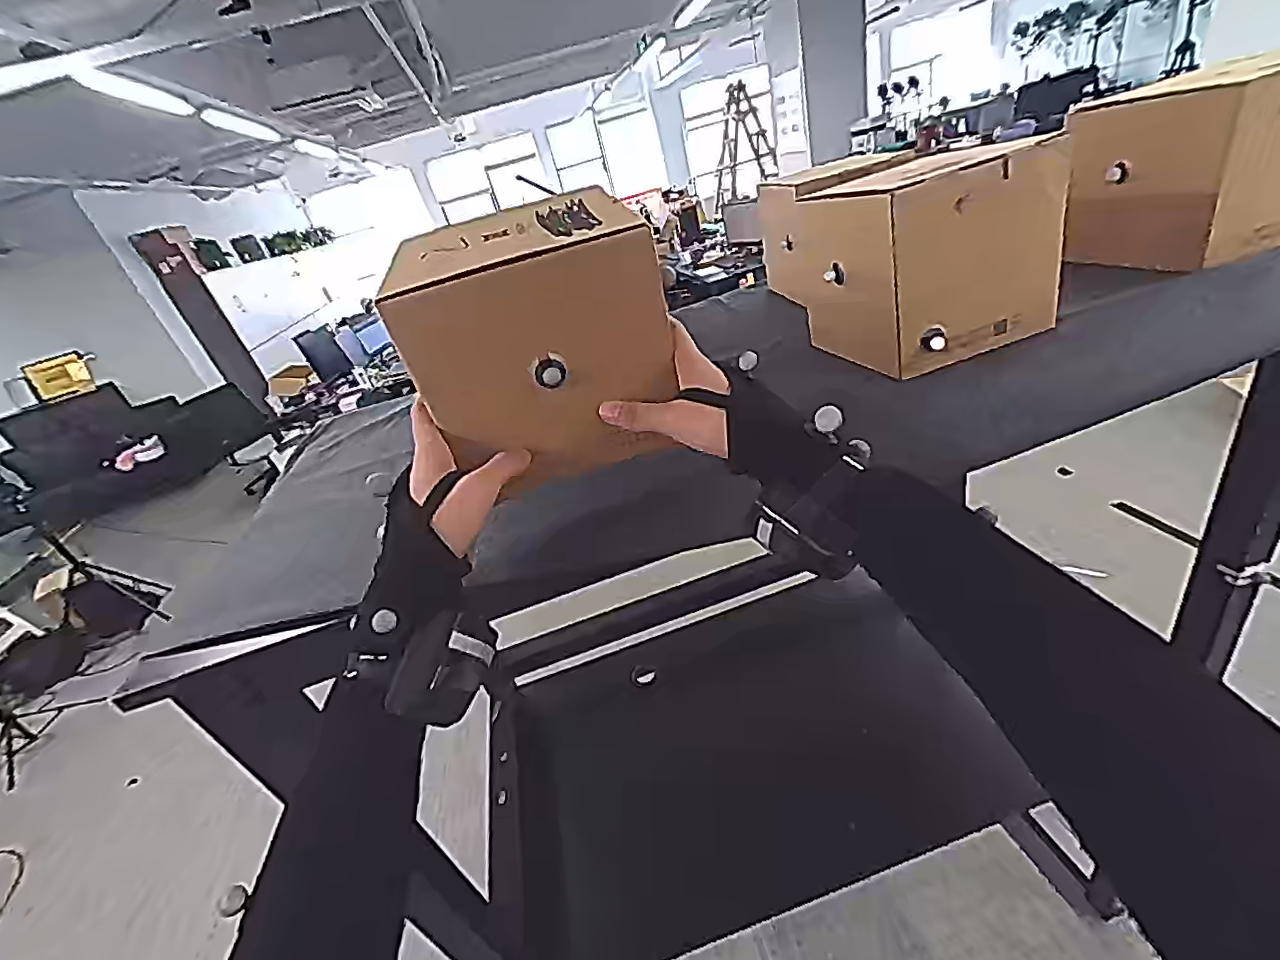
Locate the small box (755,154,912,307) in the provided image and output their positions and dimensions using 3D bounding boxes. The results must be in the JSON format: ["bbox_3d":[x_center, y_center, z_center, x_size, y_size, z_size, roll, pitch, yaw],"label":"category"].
[{"bbox_3d":[0.290,-0.374,0.821,0.168,0.176,0.179,-16,29,0],"label":"small box"}]

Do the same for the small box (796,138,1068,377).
[{"bbox_3d":[0.282,-0.218,0.549,0.168,0.176,0.179,-19,27,-4],"label":"small box"}]

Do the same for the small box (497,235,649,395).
[{"bbox_3d":[-0.097,-0.237,0.778,0.168,0.176,0.179,-19,30,-5],"label":"small box"}]

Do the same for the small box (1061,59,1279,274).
[{"bbox_3d":[0.601,-0.332,0.583,0.168,0.176,0.179,-20,28,-4],"label":"small box"}]
